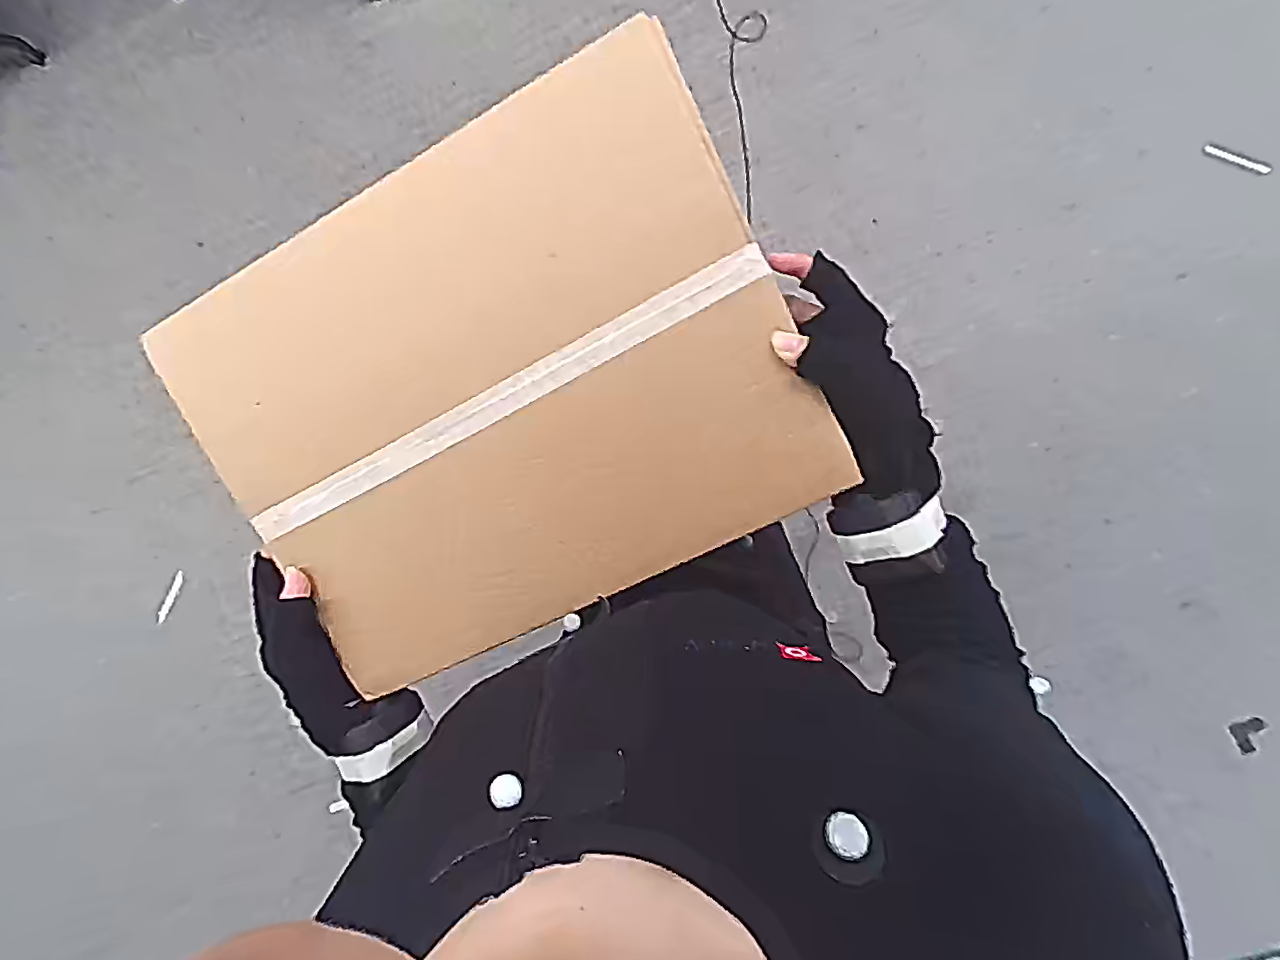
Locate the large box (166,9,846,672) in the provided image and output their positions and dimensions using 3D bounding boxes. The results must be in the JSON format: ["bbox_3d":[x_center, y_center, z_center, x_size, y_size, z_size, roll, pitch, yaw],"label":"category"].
[{"bbox_3d":[-0.087,-0.096,0.520,0.408,0.320,0.320,-25,97,10],"label":"large box"}]
